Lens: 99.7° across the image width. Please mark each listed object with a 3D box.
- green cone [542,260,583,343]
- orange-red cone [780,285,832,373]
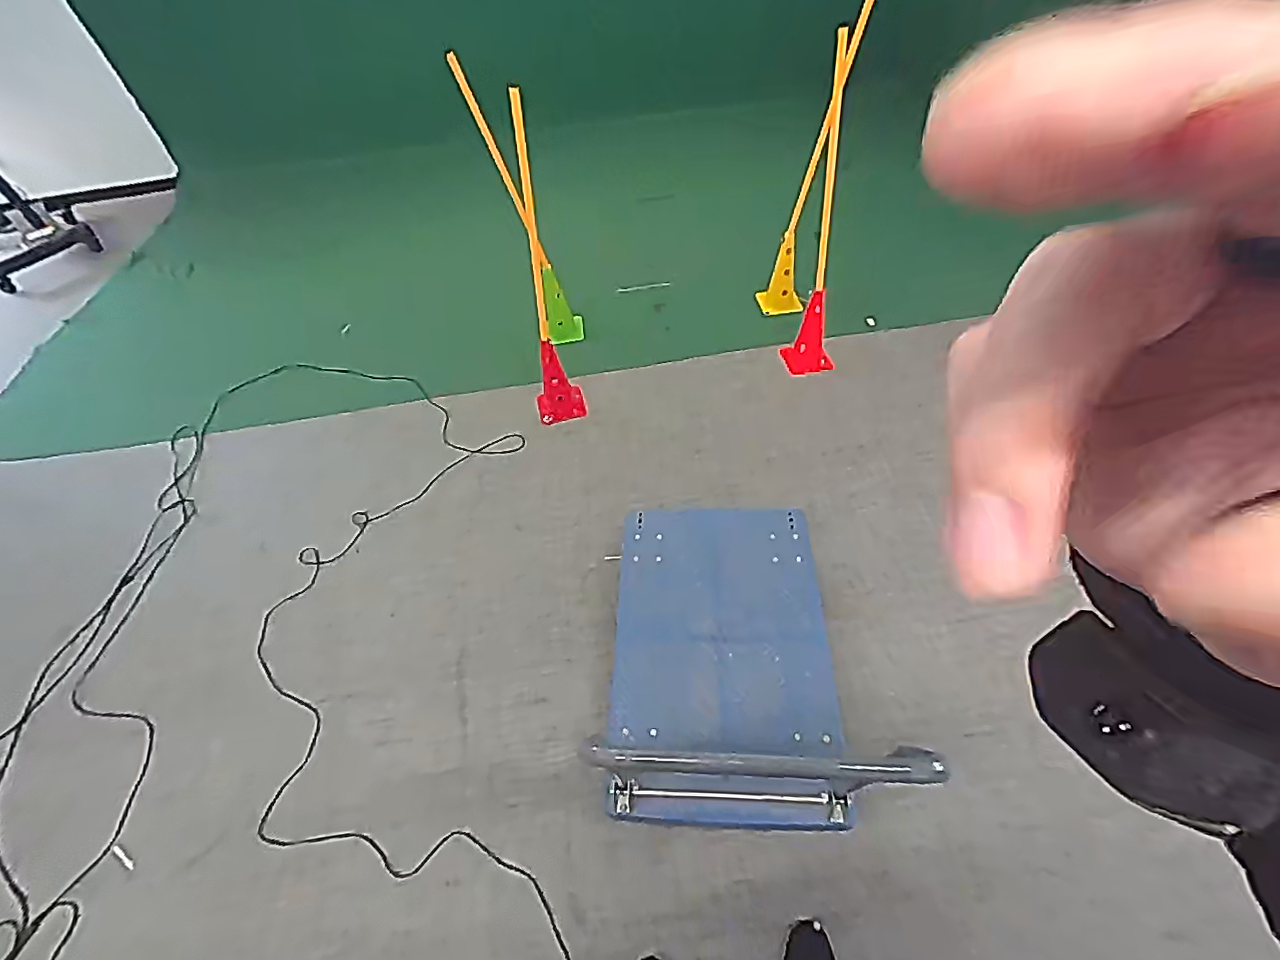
[{"bbox_3d":[-0.405,-0.870,2.583,0.200,0.368,0.202,-9,50,-1],"label":"green cone"},{"bbox_3d":[0.733,-0.662,2.303,0.198,0.360,0.199,-8,49,-2],"label":"orange-red cone"}]
